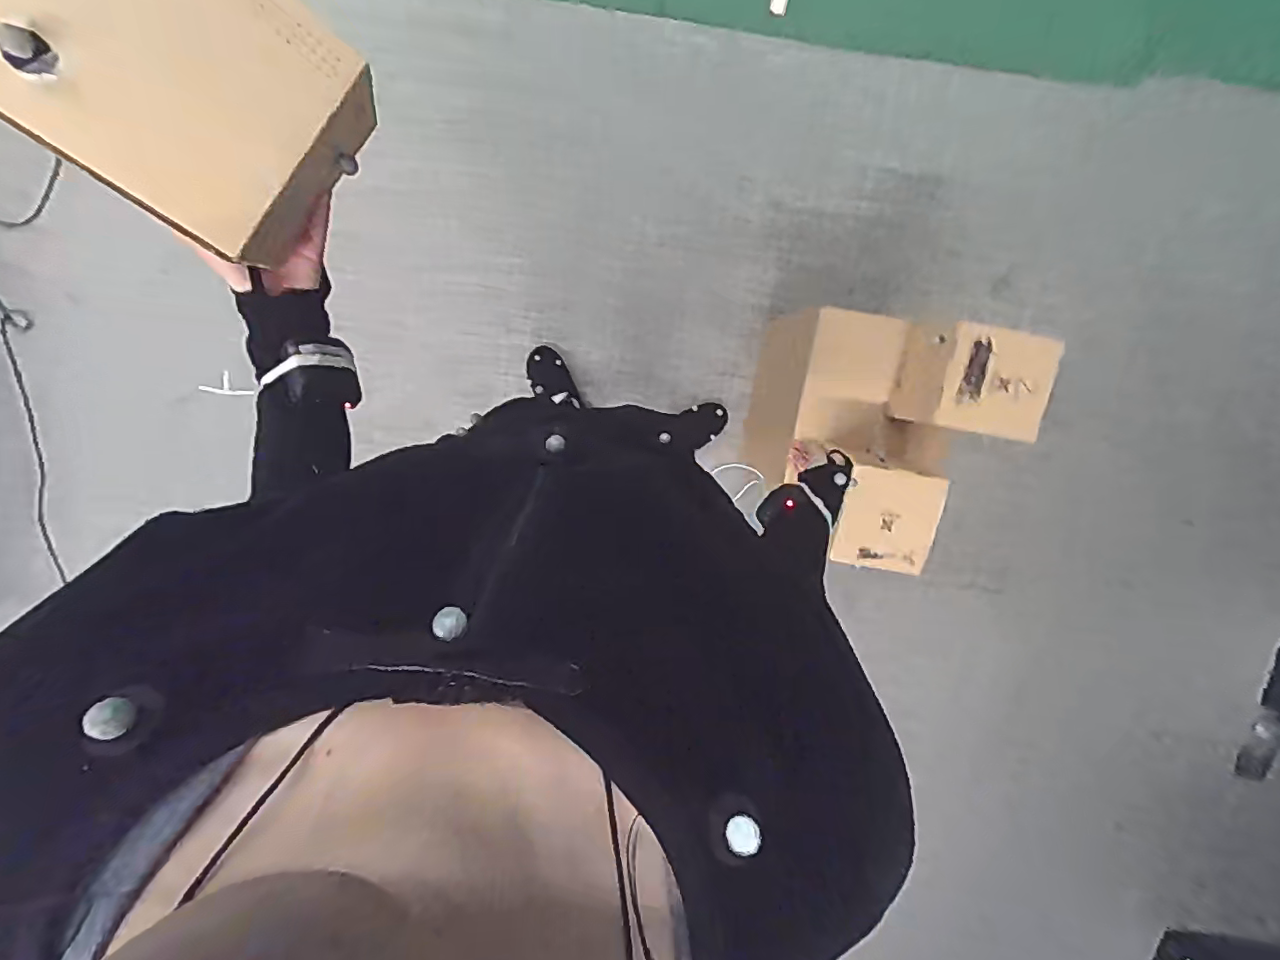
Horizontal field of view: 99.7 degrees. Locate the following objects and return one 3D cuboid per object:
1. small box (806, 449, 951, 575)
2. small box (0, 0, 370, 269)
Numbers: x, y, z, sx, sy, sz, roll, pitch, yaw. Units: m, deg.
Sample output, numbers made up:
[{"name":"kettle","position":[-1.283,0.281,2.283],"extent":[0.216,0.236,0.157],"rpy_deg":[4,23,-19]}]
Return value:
[{"name":"small box","position":[0.419,0.049,0.982],"extent":[0.168,0.176,0.179],"rpy_deg":[11,102,-1]},{"name":"small box","position":[-0.328,-0.284,0.396],"extent":[0.179,0.168,0.176],"rpy_deg":[34,92,-30]}]
